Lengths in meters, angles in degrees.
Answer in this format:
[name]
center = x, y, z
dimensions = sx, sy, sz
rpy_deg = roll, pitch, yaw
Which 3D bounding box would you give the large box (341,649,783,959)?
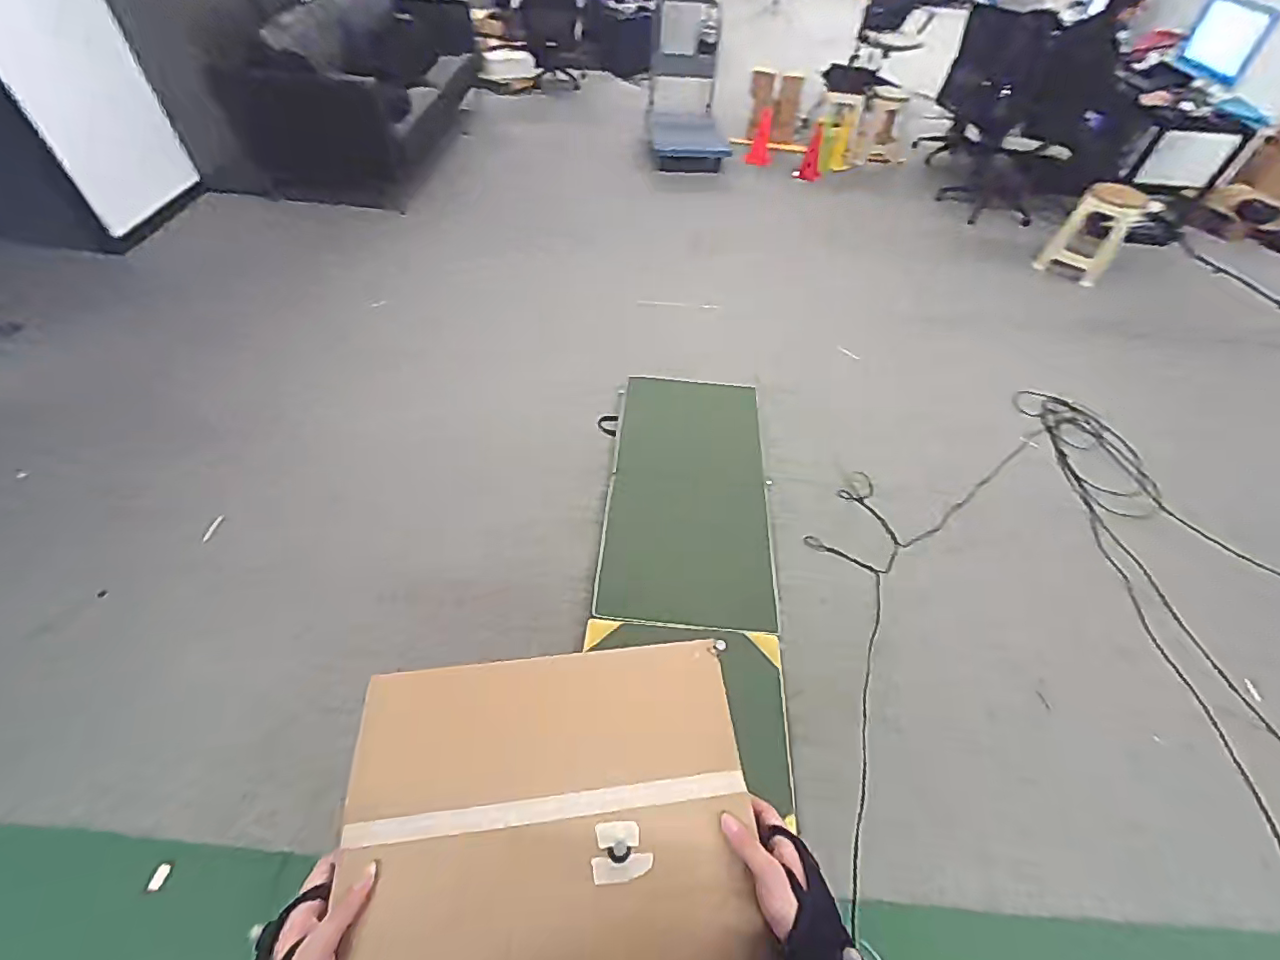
[large box]
center = -0.089, 0.437, 0.674
dimensions = 0.408, 0.320, 0.320
rpy_deg = -4, 53, -6
